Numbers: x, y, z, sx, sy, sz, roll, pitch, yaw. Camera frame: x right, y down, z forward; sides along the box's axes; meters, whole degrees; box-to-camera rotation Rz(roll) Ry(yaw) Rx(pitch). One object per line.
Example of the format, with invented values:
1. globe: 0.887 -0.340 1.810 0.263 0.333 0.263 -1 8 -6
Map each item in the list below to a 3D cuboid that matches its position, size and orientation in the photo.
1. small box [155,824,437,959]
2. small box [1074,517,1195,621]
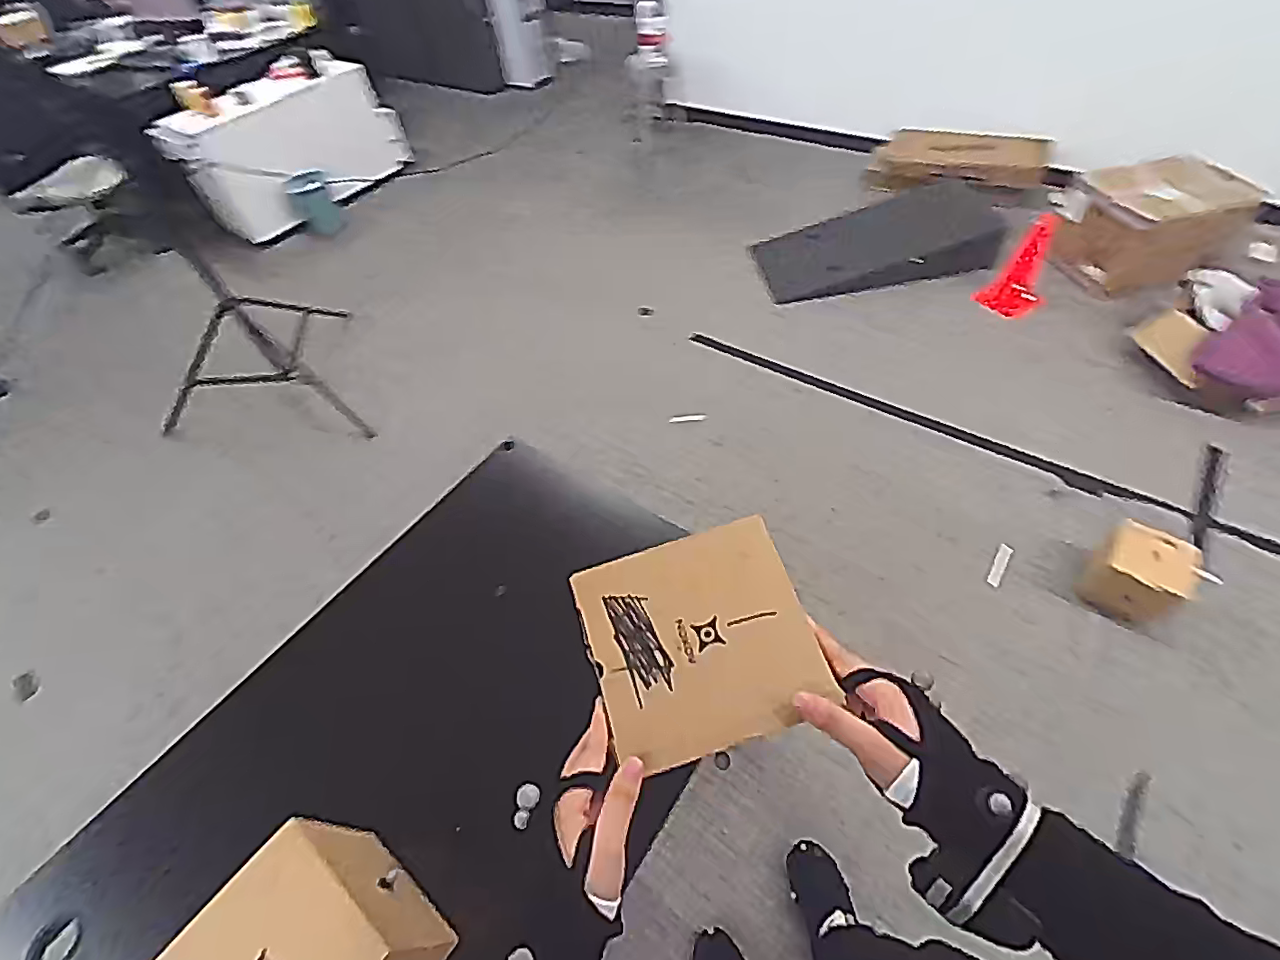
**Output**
1. small box: -0.321 0.471 0.514 0.168 0.176 0.179 28 61 25
2. small box: 1.292 0.239 1.425 0.168 0.176 0.179 29 62 26
